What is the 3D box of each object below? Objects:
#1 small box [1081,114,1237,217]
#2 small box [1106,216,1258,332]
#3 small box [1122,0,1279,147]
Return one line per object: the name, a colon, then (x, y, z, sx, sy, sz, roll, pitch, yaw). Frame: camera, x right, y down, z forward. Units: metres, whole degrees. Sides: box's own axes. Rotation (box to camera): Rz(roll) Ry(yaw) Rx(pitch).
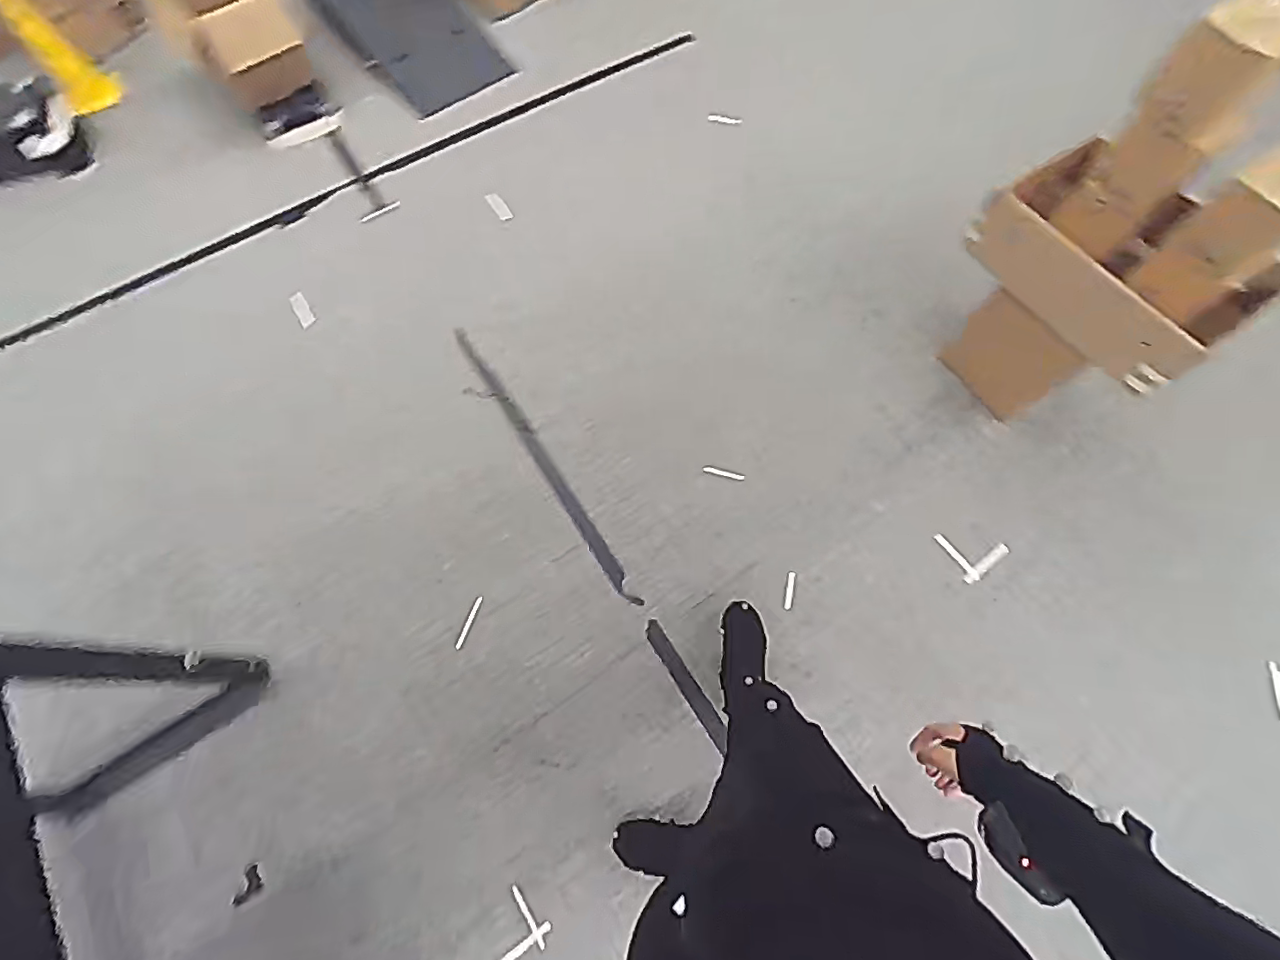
small box: (1.195, -0.758, 1.268, 0.179, 0.176, 0.168, -28, 72, -12)
small box: (1.332, -0.507, 1.345, 0.179, 0.176, 0.168, -31, 71, -11)
small box: (1.179, -0.842, 1.124, 0.179, 0.176, 0.168, -28, 71, -10)
